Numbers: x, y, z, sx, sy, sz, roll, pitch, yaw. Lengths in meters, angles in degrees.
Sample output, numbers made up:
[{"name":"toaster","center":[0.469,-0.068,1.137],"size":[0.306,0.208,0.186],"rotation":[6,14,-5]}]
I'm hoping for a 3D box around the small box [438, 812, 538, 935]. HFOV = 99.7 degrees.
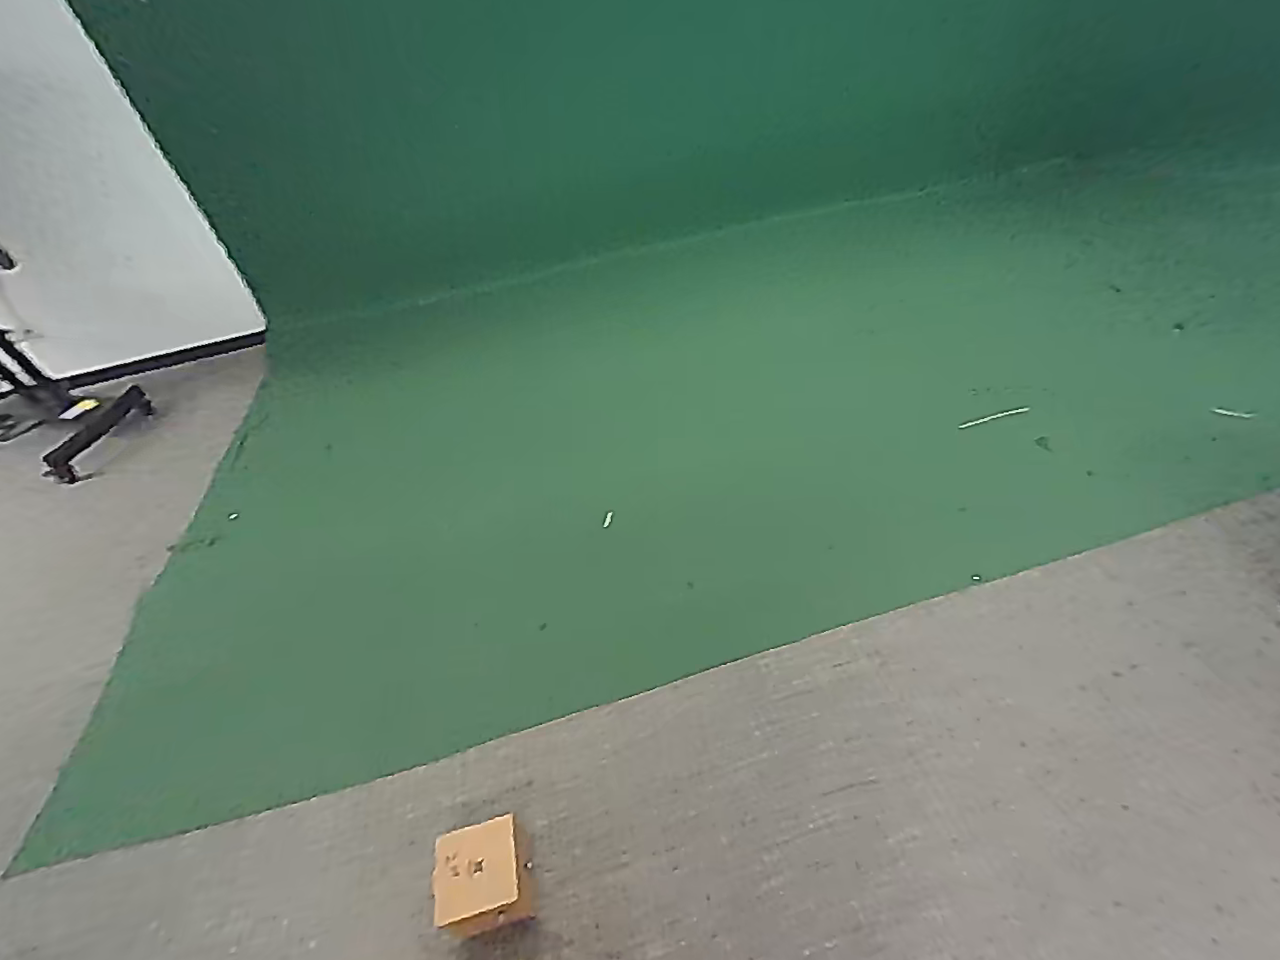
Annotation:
[{"name":"small box","center":[-0.333,0.876,1.204],"size":[0.179,0.176,0.168],"rotation":[-15,43,-6]}]
